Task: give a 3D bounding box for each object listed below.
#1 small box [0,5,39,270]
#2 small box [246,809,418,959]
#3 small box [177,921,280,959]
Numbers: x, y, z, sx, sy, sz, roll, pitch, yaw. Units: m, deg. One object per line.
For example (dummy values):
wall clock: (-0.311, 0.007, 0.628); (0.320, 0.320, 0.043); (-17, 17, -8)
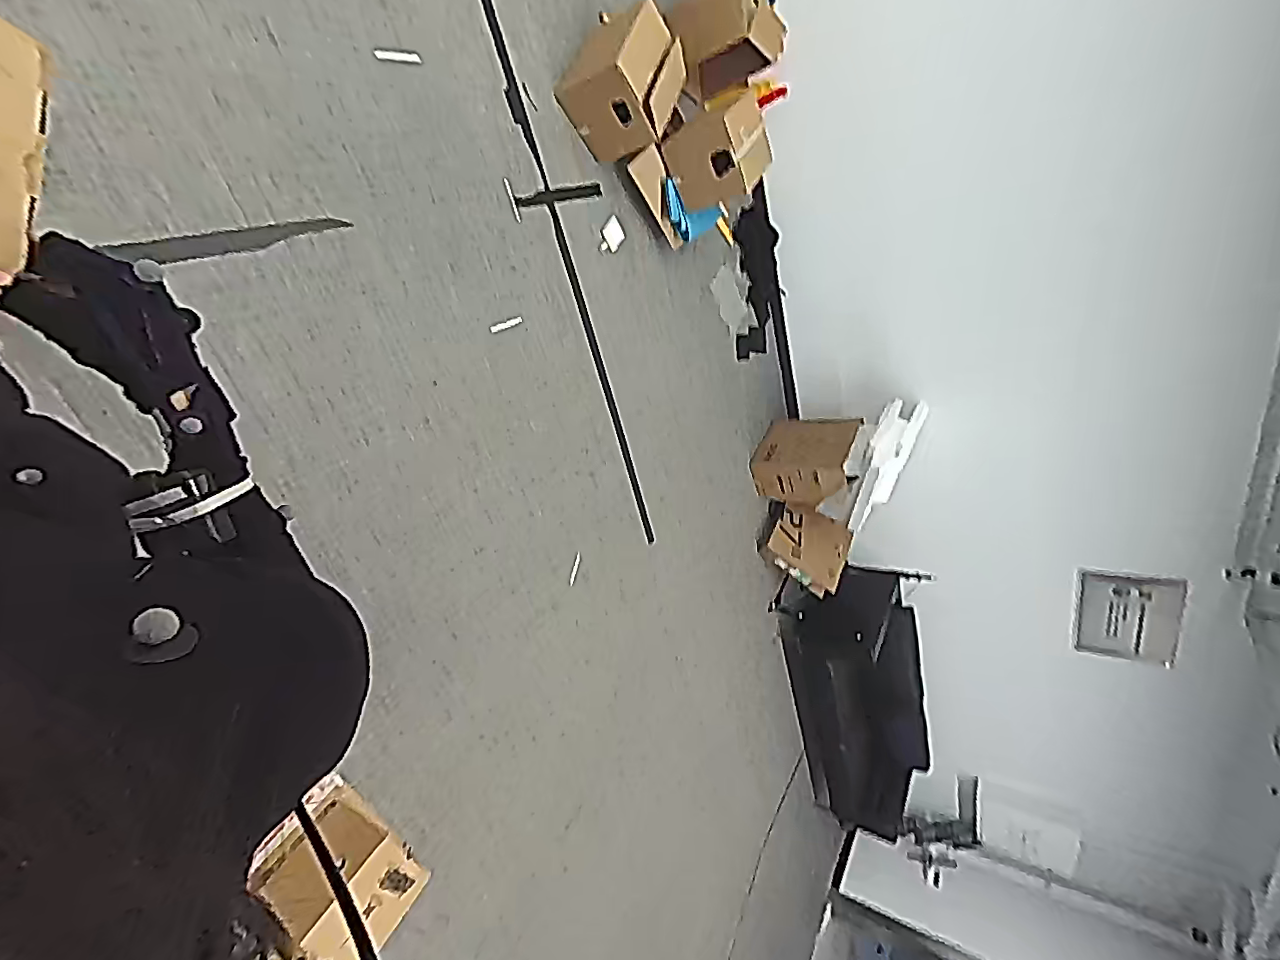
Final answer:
small box: (-0.513, -0.230, 0.309); (0.179, 0.176, 0.168); (5, 89, -66)
small box: (-0.550, 0.737, 0.971); (0.179, 0.176, 0.168); (-49, 131, -42)
small box: (-0.651, 0.843, 0.838); (0.168, 0.176, 0.179); (-44, 128, -42)
